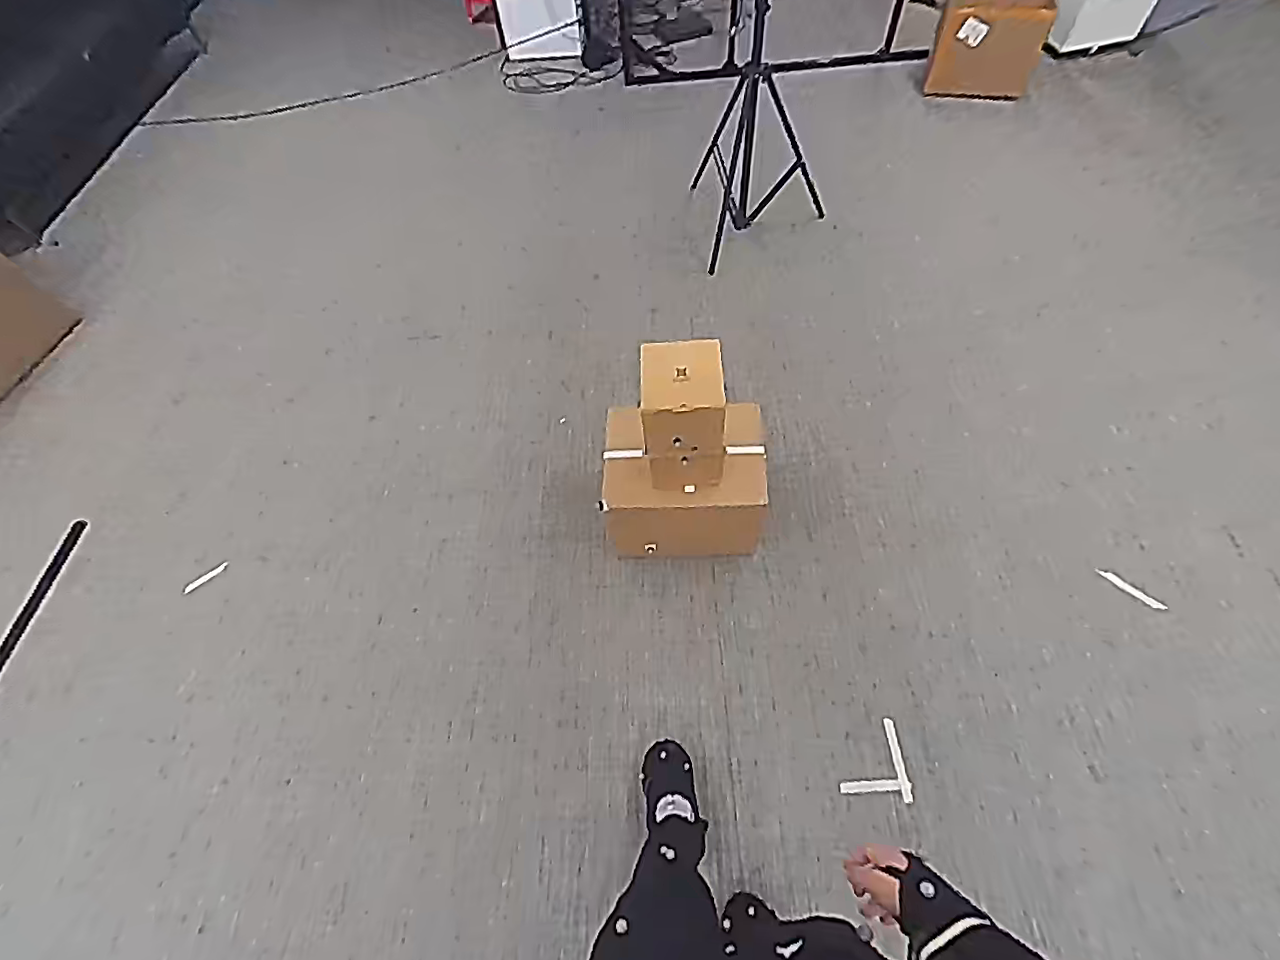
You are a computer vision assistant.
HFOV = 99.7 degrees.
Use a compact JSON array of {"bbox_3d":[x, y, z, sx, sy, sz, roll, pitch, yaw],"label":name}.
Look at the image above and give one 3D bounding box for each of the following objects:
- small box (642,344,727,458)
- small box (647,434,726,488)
[{"bbox_3d":[0.091,-0.164,1.150,0.168,0.176,0.179,-3,61,4],"label":"small box"},{"bbox_3d":[0.107,-0.090,1.294,0.179,0.176,0.168,-3,60,2],"label":"small box"}]
